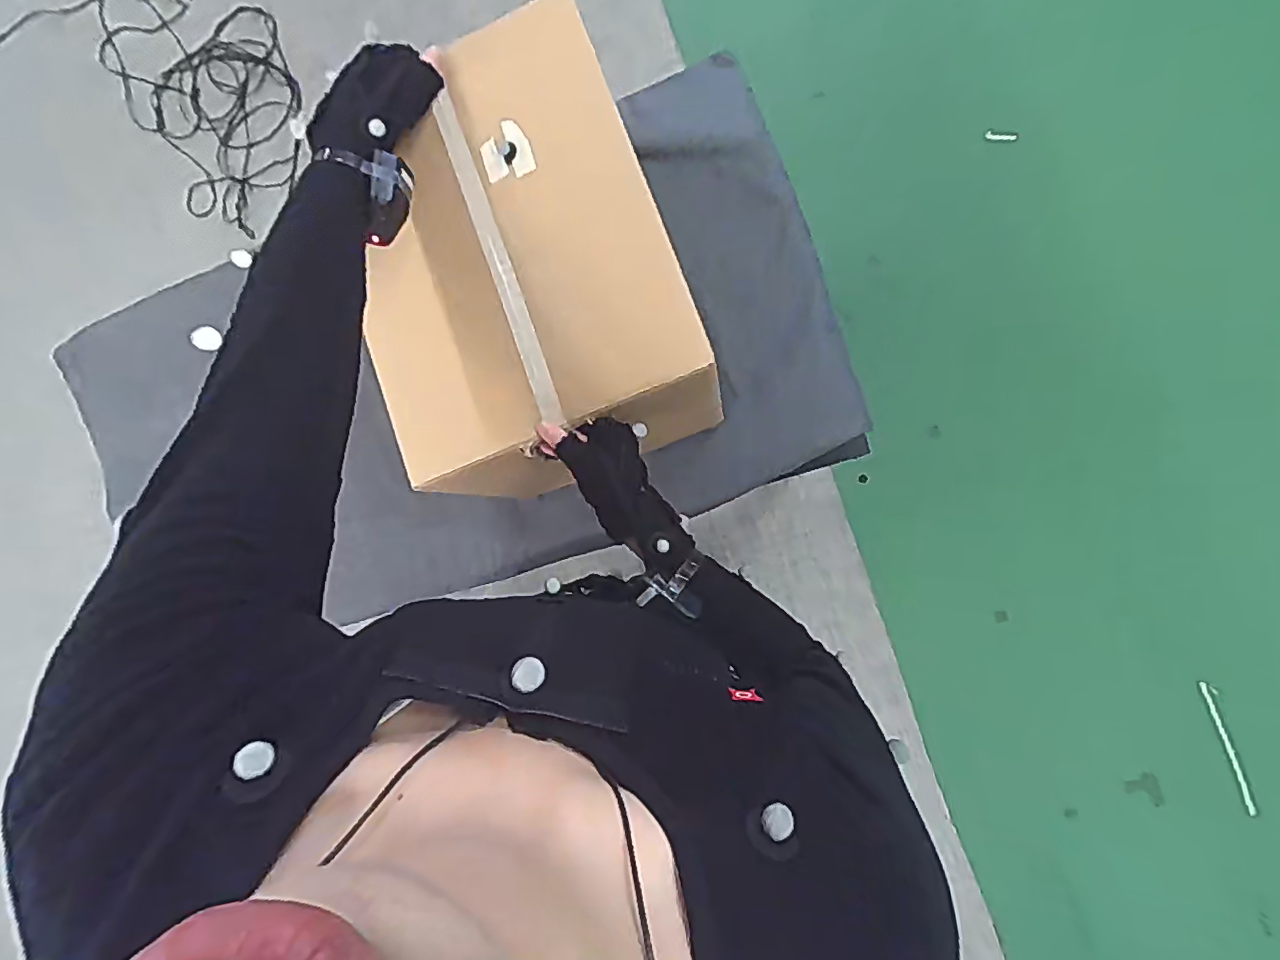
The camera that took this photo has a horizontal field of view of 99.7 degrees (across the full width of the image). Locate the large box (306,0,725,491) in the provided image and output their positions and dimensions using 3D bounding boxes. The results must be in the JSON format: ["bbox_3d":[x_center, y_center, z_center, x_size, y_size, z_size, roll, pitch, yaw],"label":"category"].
[{"bbox_3d":[-0.115,-0.229,0.666,0.320,0.320,0.408,-21,82,8],"label":"large box"}]
